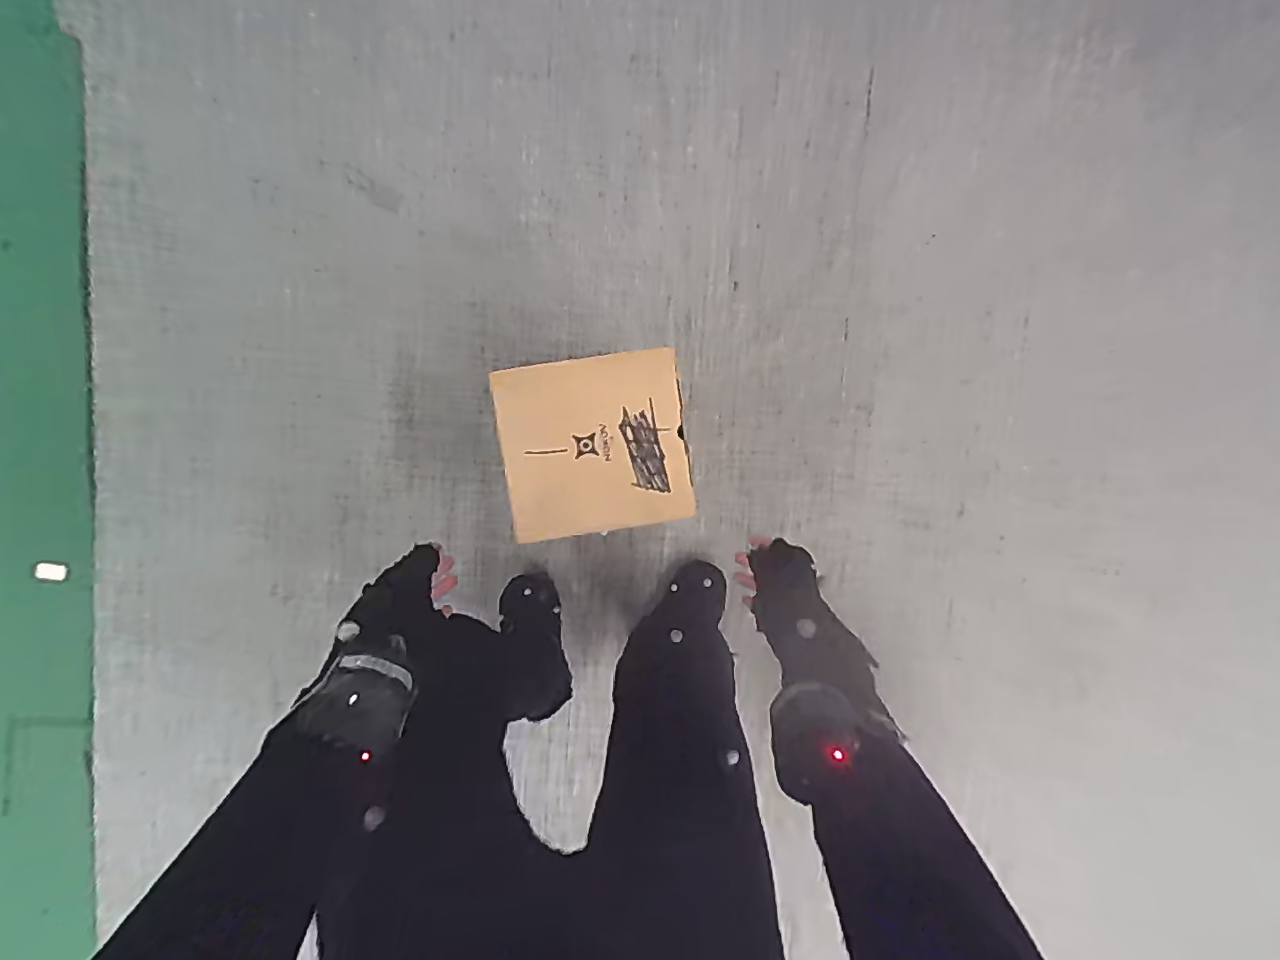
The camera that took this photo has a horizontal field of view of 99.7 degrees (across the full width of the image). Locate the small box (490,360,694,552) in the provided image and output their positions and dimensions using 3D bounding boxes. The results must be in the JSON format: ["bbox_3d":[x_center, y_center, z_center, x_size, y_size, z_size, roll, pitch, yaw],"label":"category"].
[{"bbox_3d":[-0.047,-0.029,0.589,0.179,0.176,0.168,-8,94,0],"label":"small box"}]
